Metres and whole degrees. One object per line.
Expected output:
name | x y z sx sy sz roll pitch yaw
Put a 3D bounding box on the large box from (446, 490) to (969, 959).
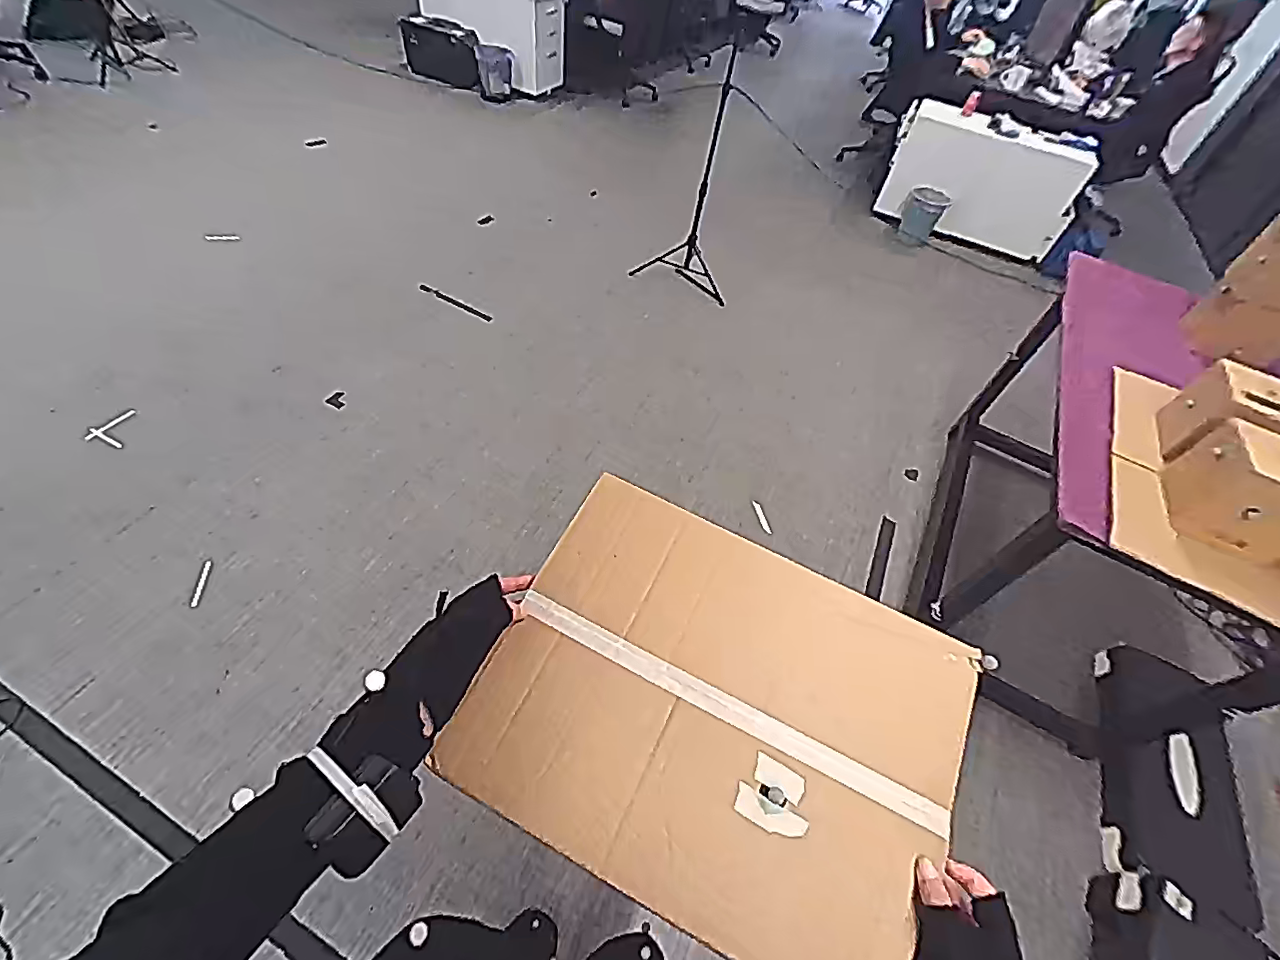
large box | 0.067 0.277 0.619 0.408 0.320 0.320 26 64 10
